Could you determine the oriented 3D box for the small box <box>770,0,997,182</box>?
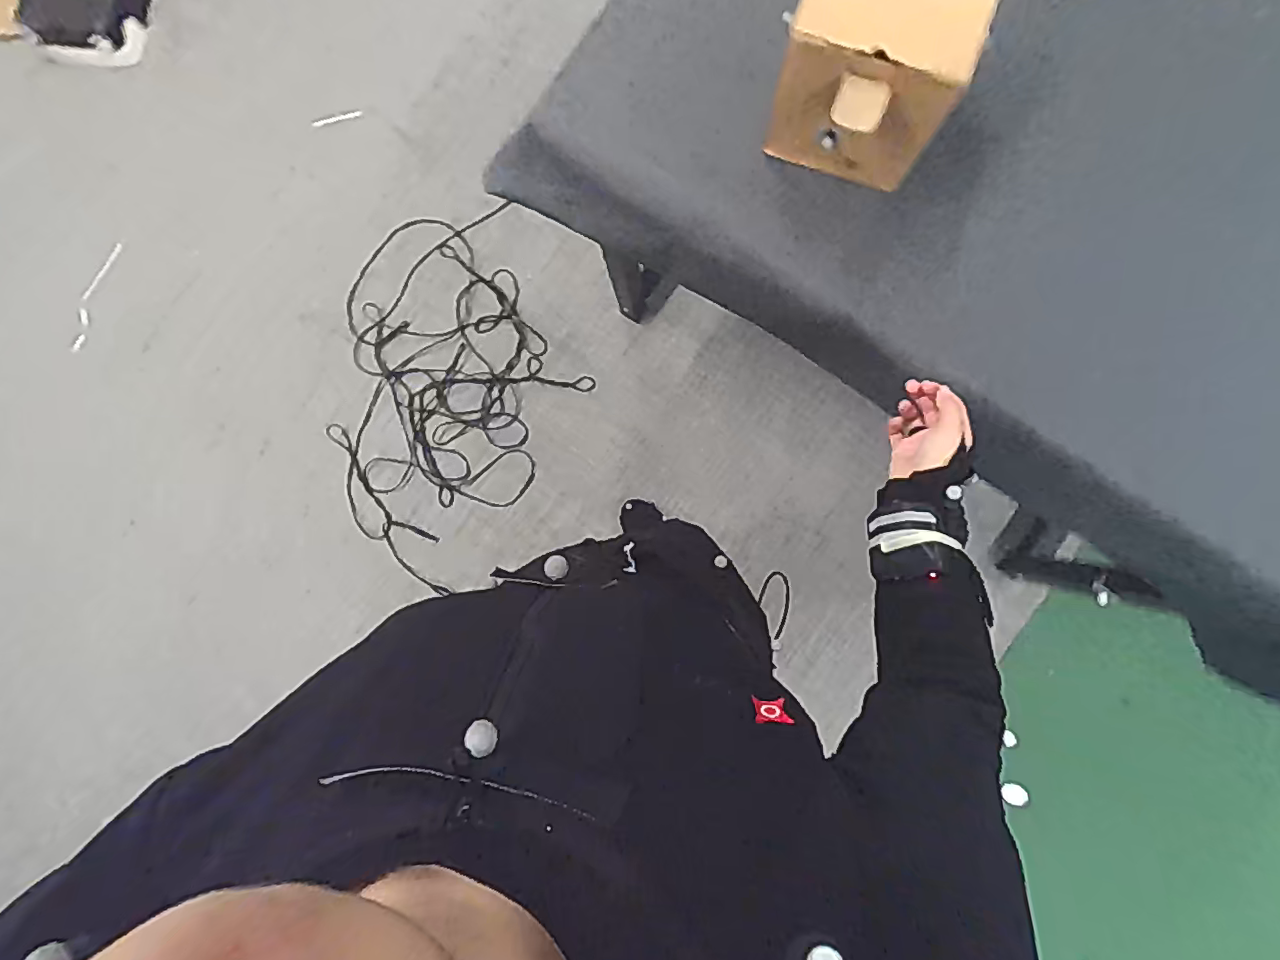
[{"bbox_3d":[0.249,-0.460,0.567,0.168,0.176,0.179,19,89,4],"label":"small box"}]
